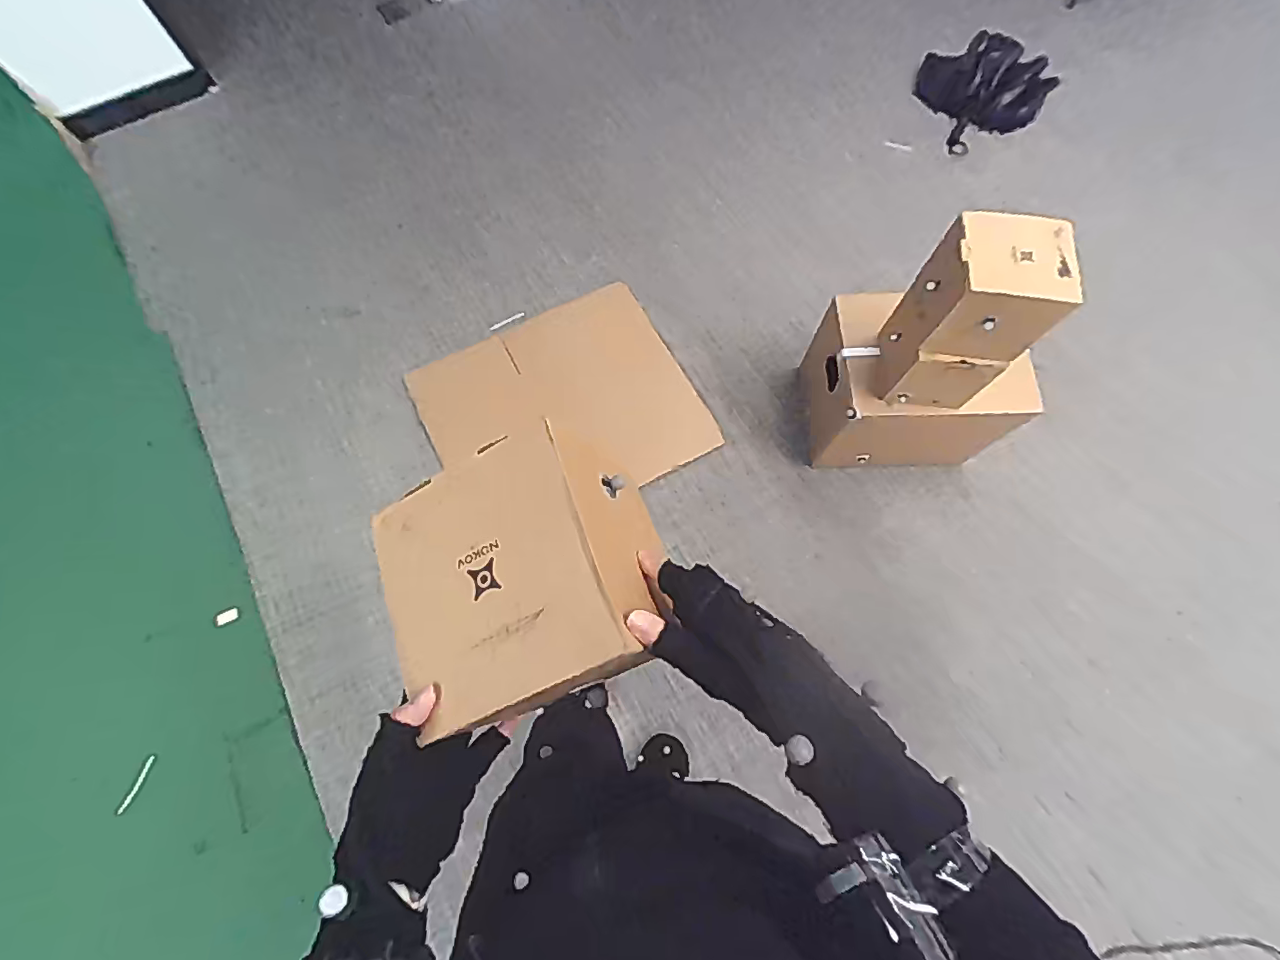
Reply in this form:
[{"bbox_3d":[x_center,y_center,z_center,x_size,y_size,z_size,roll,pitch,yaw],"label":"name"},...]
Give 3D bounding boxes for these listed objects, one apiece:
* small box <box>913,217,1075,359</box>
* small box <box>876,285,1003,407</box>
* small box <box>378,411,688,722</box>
[{"bbox_3d":[0.598,-0.328,0.944,0.179,0.176,0.168,5,69,2],"label":"small box"},{"bbox_3d":[0.593,-0.263,1.092,0.168,0.176,0.179,6,71,3],"label":"small box"},{"bbox_3d":[-0.080,0.077,0.453,0.168,0.176,0.179,-27,68,13],"label":"small box"}]
